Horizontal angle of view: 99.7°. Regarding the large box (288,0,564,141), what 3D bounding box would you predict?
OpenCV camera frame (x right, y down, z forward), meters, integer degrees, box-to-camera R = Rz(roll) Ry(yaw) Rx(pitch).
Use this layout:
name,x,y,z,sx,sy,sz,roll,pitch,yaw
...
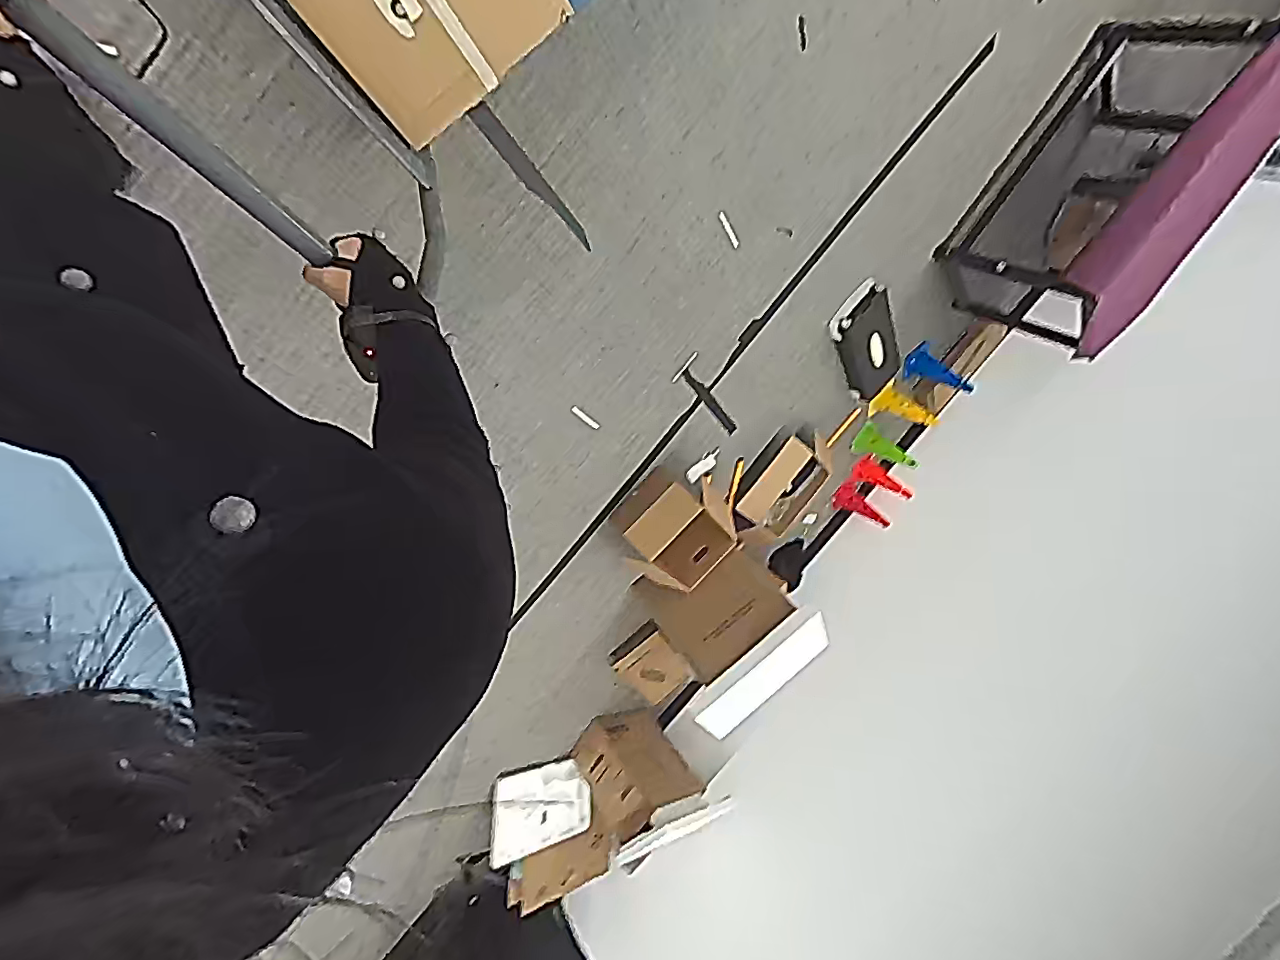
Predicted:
name,x,y,z,sx,sy,sz,roll,pitch,yaw
large box,-0.378,-0.804,0.761,0.320,0.320,0.408,-33,143,10
